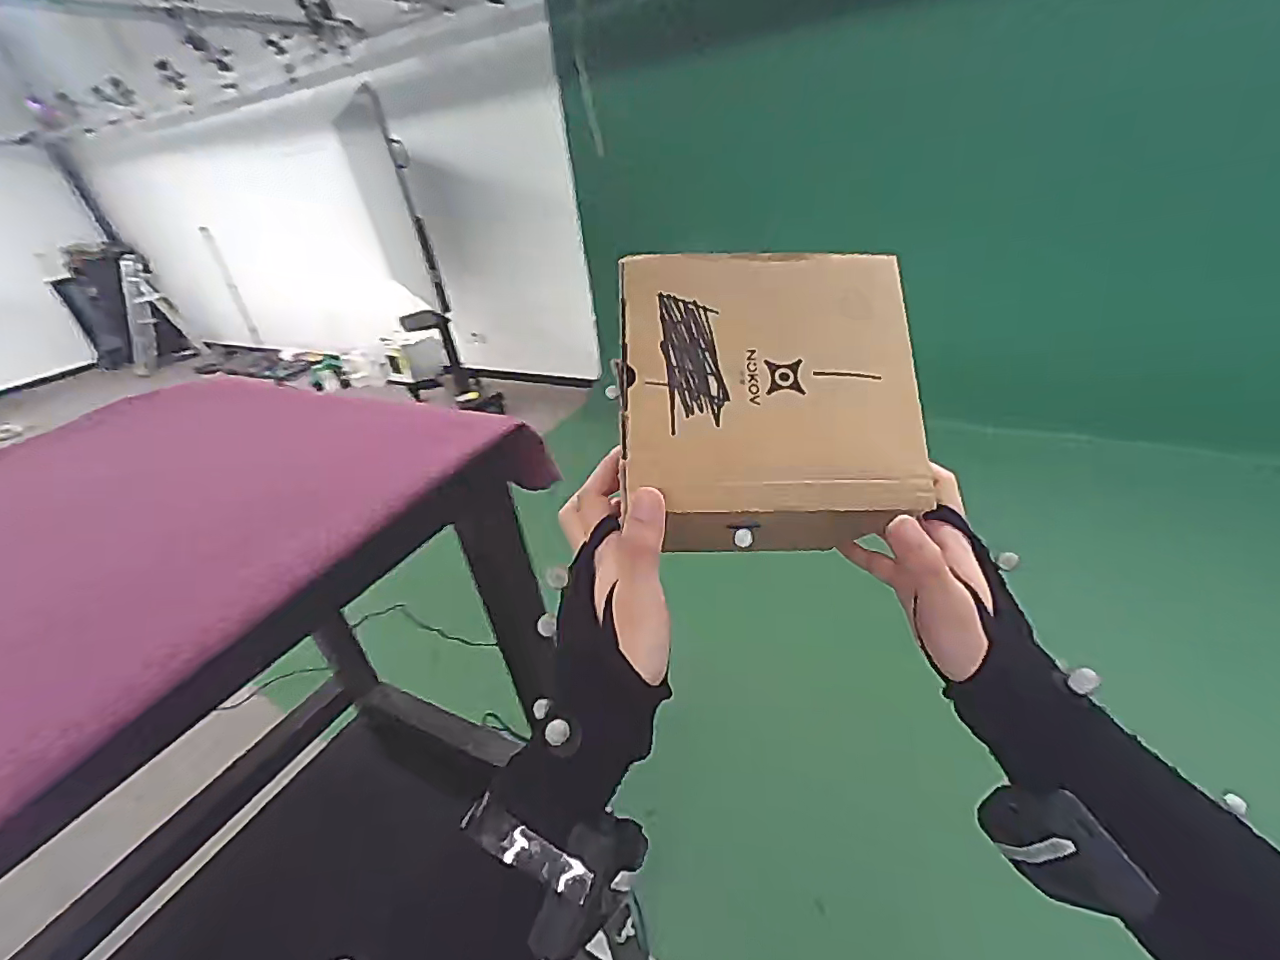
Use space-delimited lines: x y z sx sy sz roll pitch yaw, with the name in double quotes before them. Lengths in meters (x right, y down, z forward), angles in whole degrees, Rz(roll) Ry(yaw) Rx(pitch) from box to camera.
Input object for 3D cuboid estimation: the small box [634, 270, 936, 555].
"small box" 0.083 -0.035 0.408 0.179 0.176 0.168 0 75 -2
